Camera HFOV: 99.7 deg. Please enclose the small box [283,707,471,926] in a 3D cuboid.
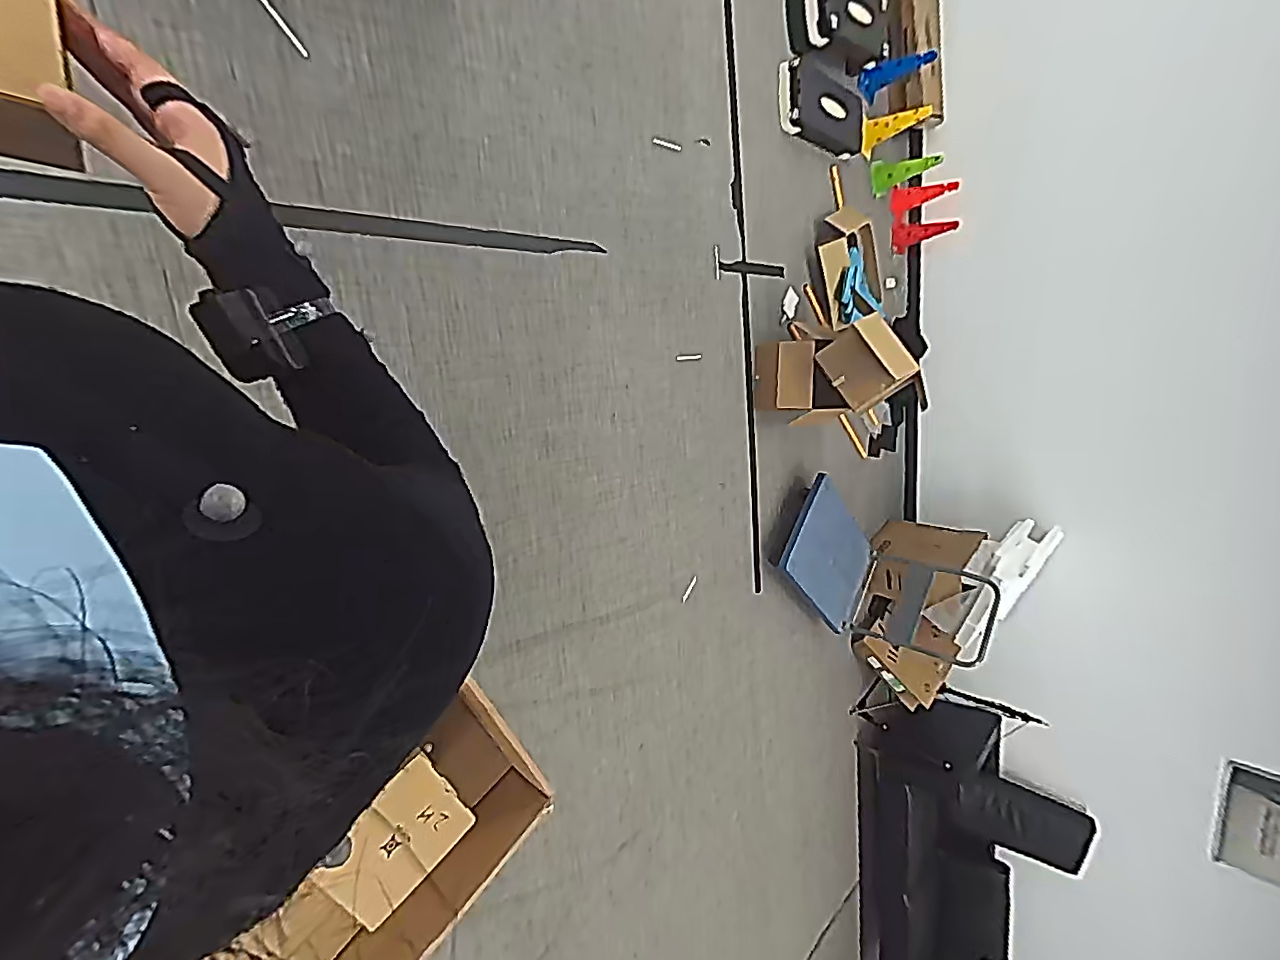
[{"bbox_3d":[-0.389,0.476,0.792,0.179,0.176,0.168,-39,120,-33],"label":"small box"}]
